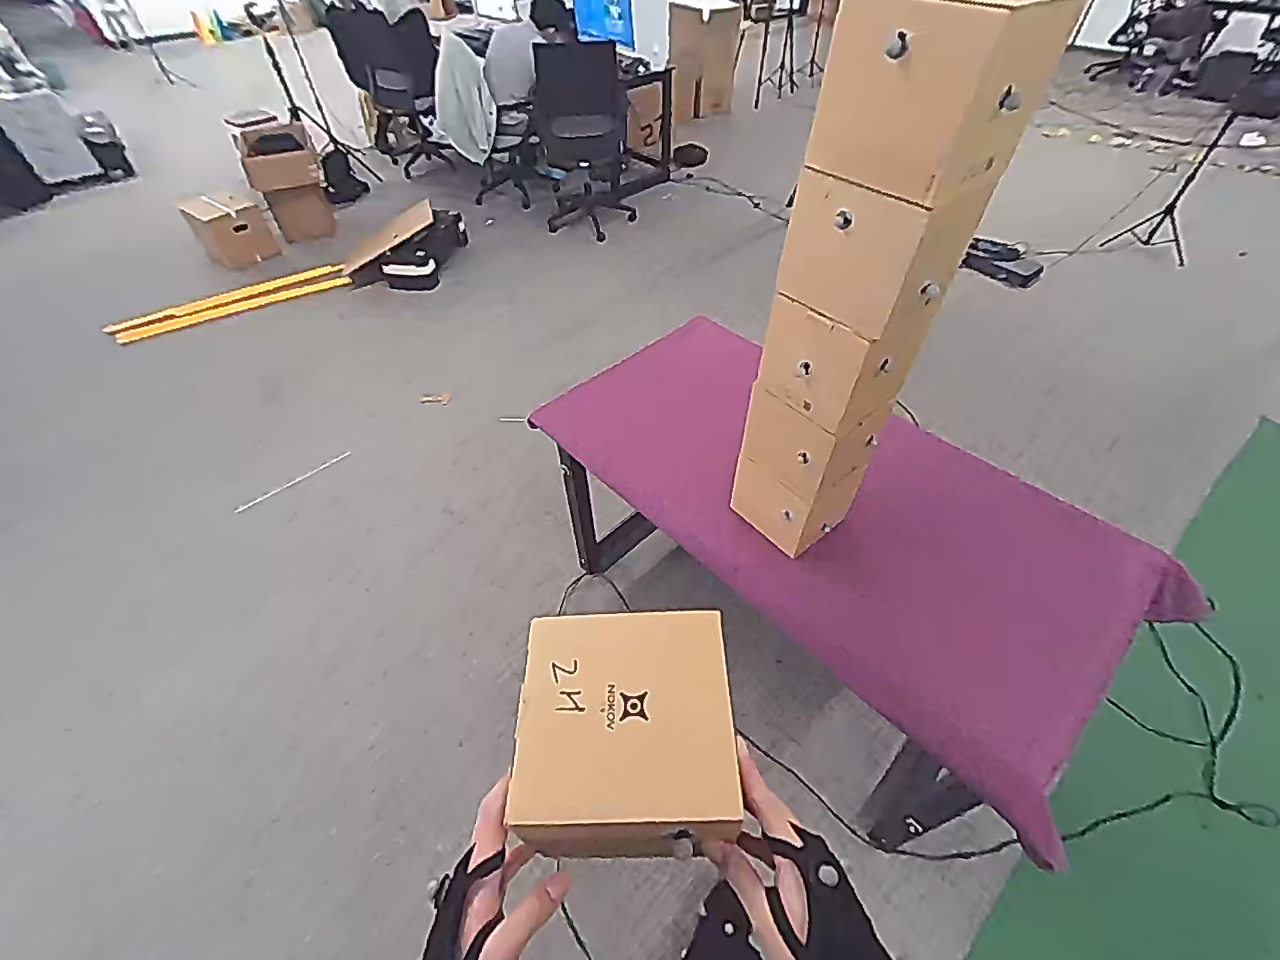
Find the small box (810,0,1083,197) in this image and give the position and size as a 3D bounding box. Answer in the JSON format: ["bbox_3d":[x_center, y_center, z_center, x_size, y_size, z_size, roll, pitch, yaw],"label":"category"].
[{"bbox_3d":[0.317,-0.428,0.590,0.168,0.176,0.179,-32,55,-25],"label":"small box"}]

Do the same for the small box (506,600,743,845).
[{"bbox_3d":[-0.007,0.227,0.503,0.179,0.176,0.168,-3,47,3],"label":"small box"}]

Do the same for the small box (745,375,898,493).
[{"bbox_3d":[0.308,-0.099,0.953,0.168,0.176,0.179,-31,55,-24],"label":"small box"}]

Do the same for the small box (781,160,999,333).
[{"bbox_3d":[0.312,-0.321,0.712,0.168,0.176,0.179,-33,57,-26],"label":"small box"}]

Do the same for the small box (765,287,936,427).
[{"bbox_3d":[0.312,-0.211,0.834,0.179,0.176,0.168,-31,56,-24],"label":"small box"}]
